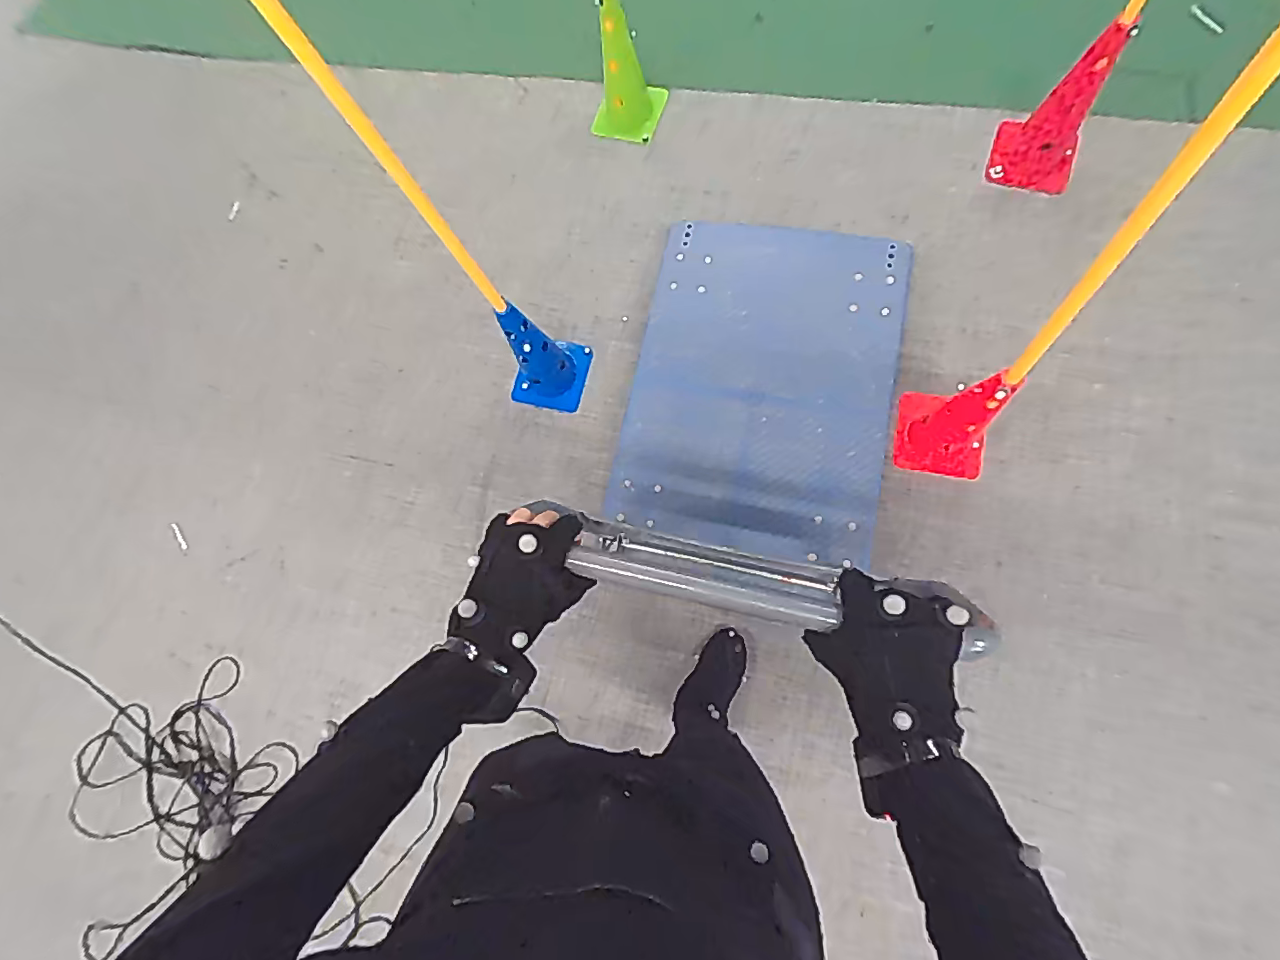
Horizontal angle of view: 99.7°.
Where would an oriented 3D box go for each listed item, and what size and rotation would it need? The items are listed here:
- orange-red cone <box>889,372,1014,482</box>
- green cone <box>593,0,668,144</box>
[{"bbox_3d":[0.697,-0.141,1.165,0.199,0.360,0.198,12,79,13],"label":"orange-red cone"},{"bbox_3d":[-0.056,-1.170,1.504,0.202,0.368,0.200,17,80,13],"label":"green cone"}]
